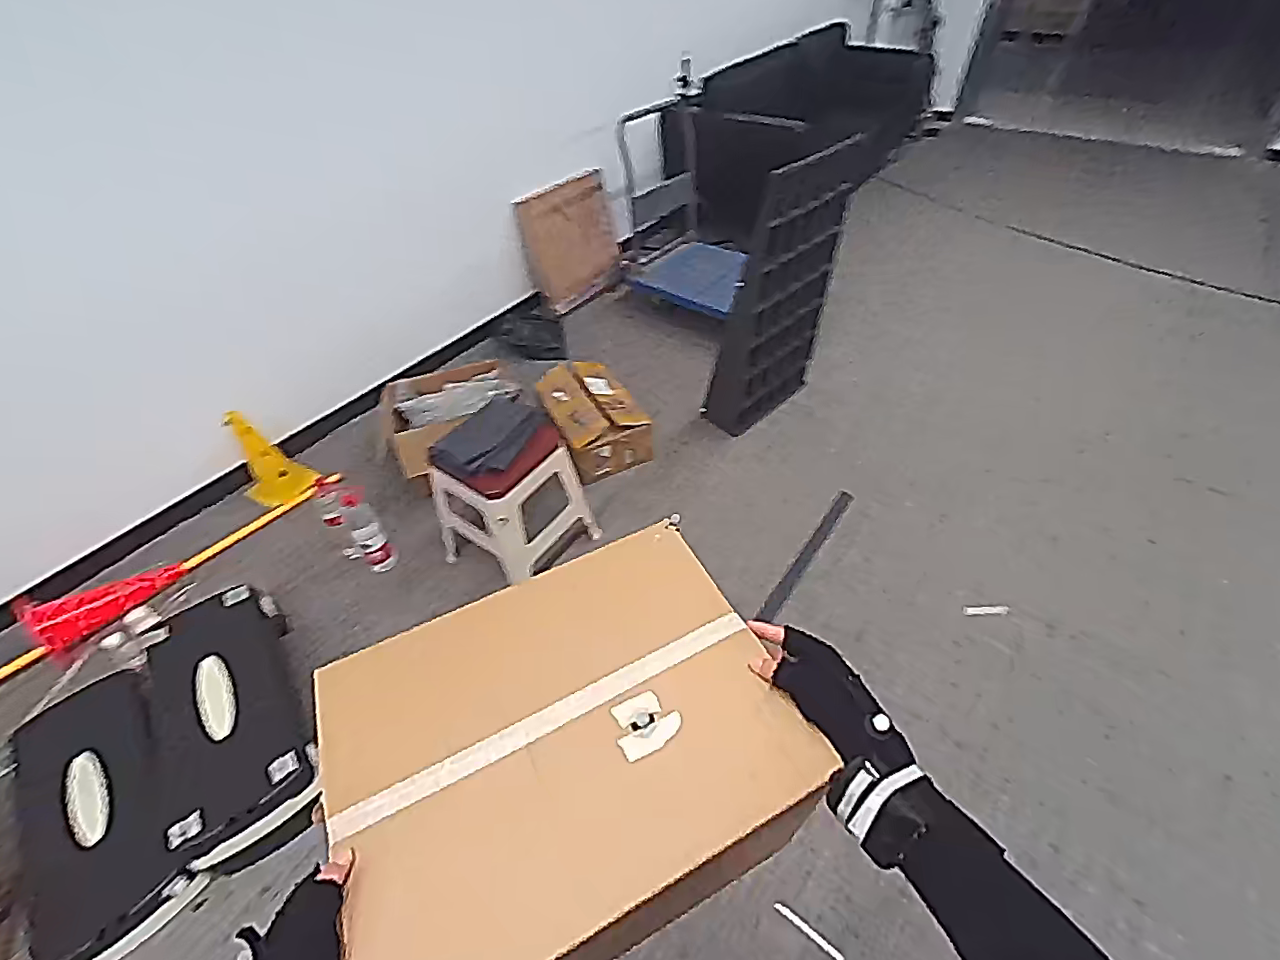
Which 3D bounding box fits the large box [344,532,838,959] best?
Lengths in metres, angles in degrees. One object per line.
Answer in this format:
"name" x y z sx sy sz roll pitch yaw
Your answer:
"large box" -0.058 0.331 0.626 0.408 0.320 0.320 -21 49 -16
